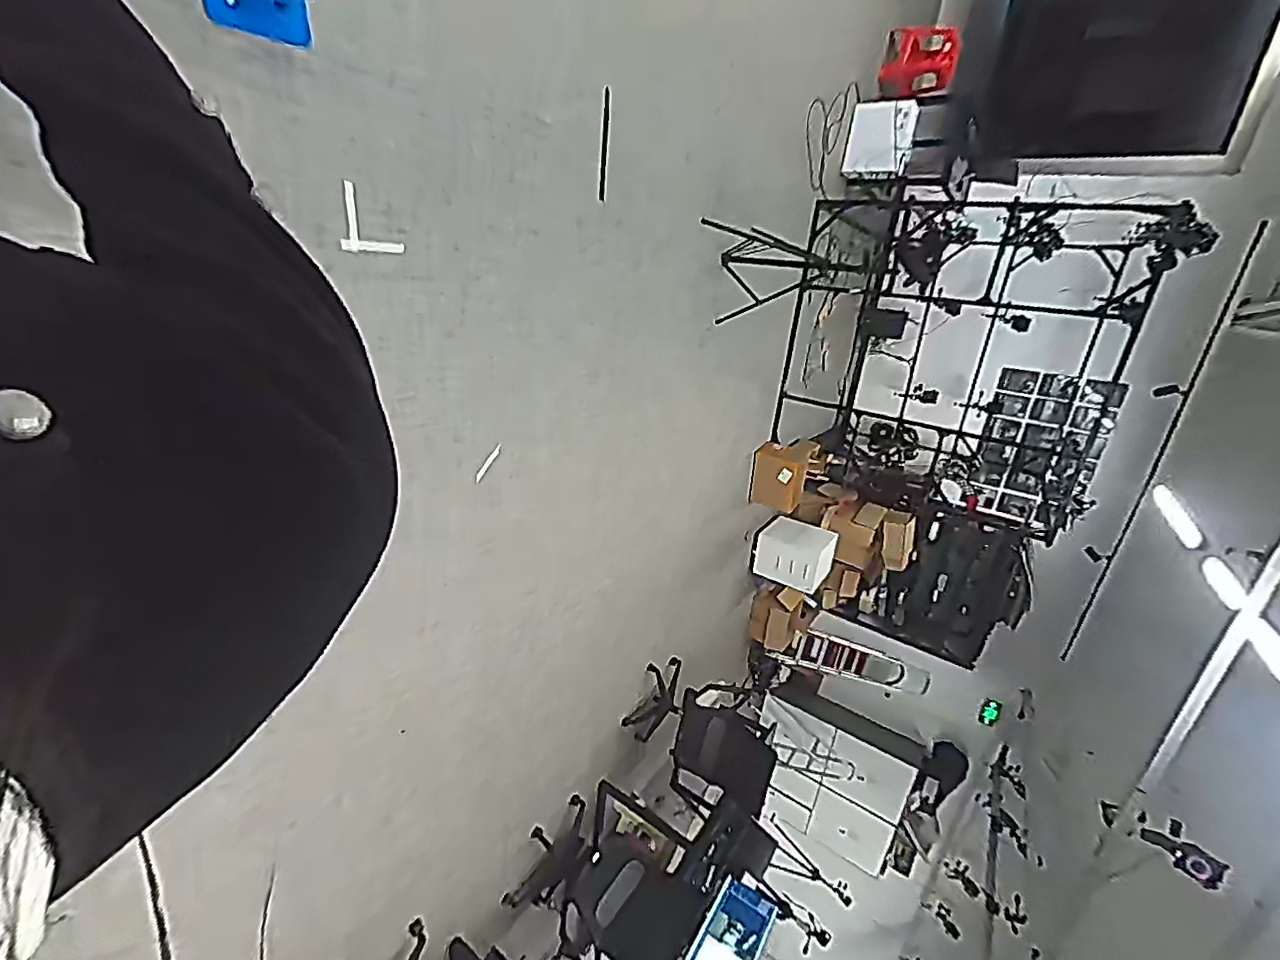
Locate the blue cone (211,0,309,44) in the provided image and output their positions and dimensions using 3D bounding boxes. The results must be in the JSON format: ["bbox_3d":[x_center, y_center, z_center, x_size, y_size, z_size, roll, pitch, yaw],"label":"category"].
[{"bbox_3d":[-0.637,-0.964,1.000,0.193,0.380,0.192,-28,128,-51],"label":"blue cone"}]
